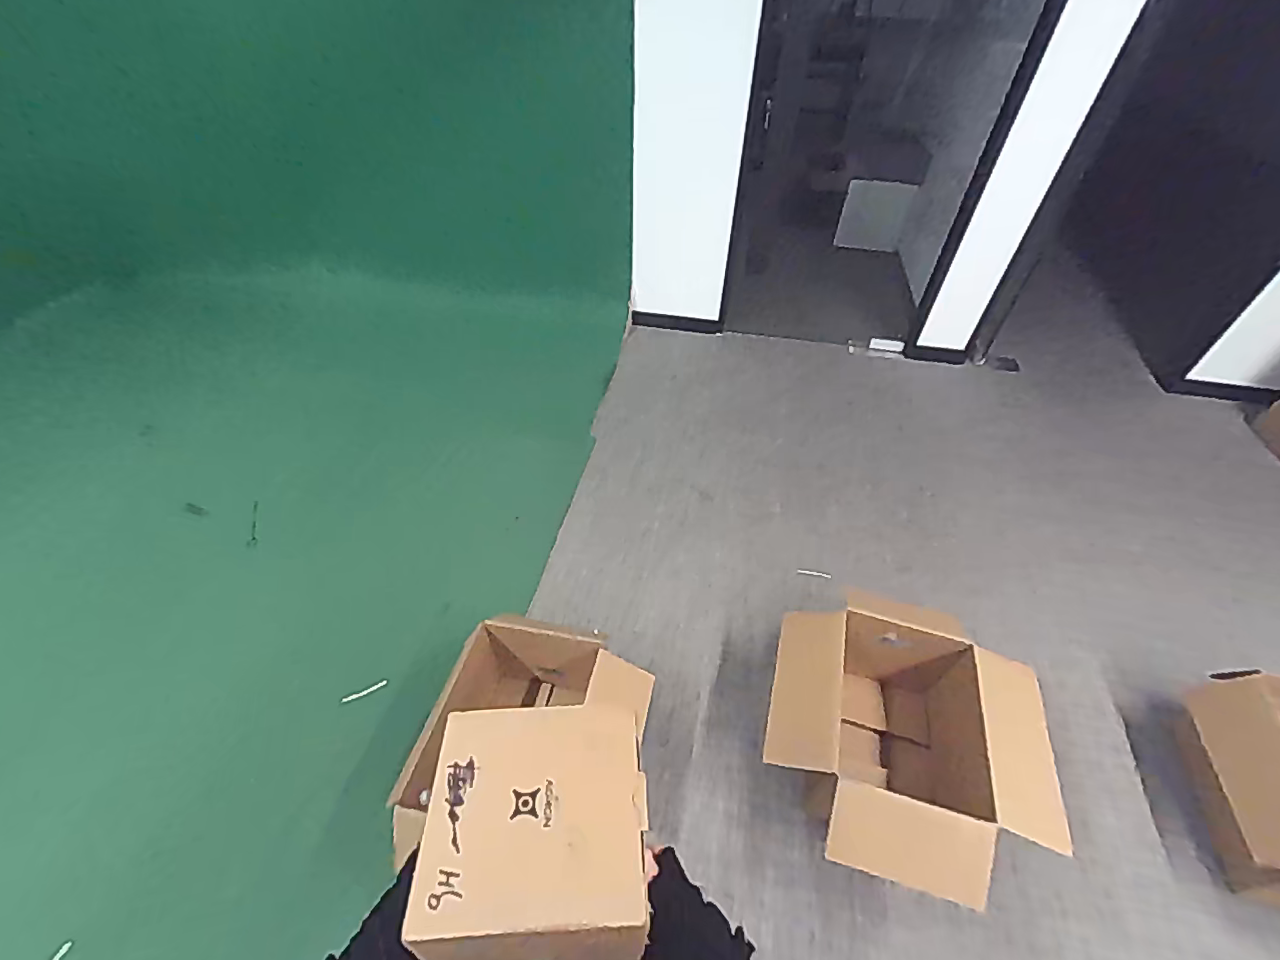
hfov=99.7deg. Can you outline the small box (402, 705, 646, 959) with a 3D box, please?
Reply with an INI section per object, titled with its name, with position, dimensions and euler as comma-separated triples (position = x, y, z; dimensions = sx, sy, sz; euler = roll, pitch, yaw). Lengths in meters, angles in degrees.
[small box]
position = -0.090, 0.328, 0.499
dimensions = 0.179, 0.176, 0.168
euler = 1, 39, -4
